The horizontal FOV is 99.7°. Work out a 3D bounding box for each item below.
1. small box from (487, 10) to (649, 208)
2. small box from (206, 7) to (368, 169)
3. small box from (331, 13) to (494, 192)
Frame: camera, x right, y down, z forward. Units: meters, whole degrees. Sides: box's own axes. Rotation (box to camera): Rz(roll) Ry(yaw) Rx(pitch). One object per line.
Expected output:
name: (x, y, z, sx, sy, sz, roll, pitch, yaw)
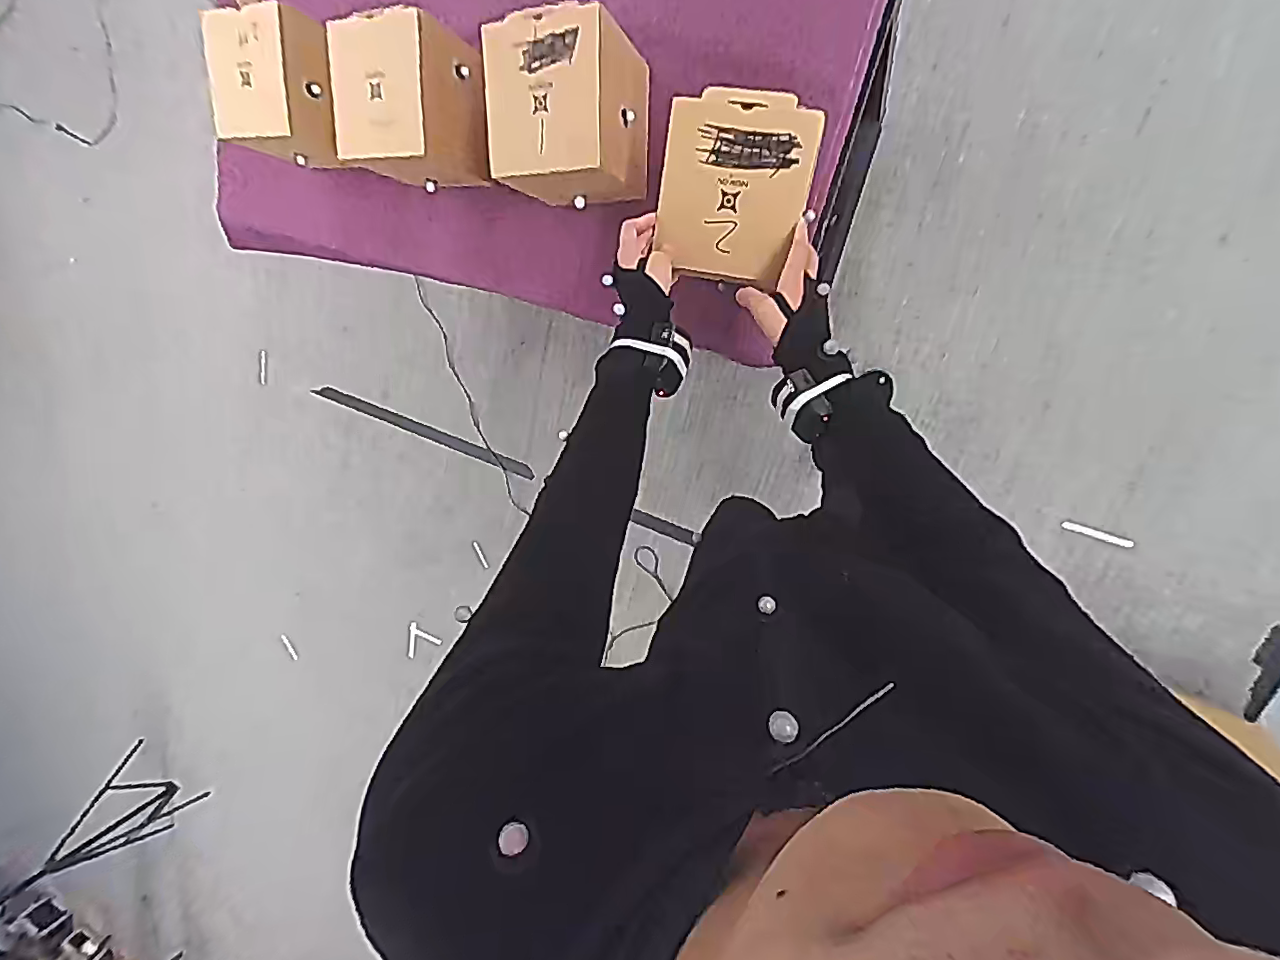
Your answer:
small box: (-0.092, -0.494, 0.750, 0.168, 0.176, 0.179, 7, 106, 20)
small box: (-0.570, -0.634, 0.900, 0.168, 0.176, 0.179, 11, 107, 18)
small box: (-0.338, -0.562, 0.830, 0.168, 0.176, 0.179, 10, 106, 19)
